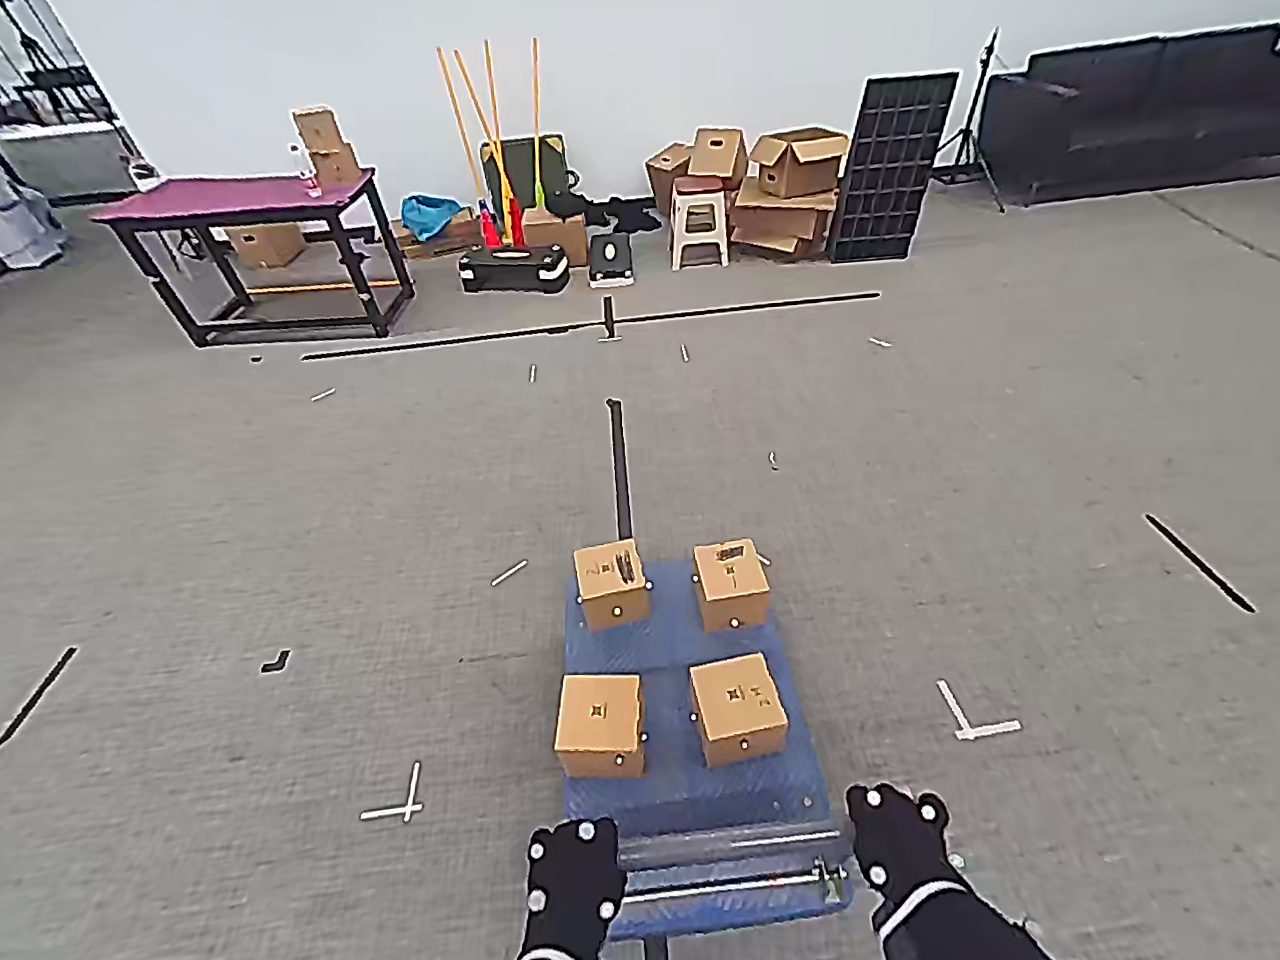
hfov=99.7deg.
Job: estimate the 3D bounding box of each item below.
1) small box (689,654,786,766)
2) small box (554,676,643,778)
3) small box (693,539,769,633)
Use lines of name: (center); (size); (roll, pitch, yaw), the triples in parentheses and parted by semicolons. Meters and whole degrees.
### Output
small box: (0.216, 0.527, 1.232); (0.179, 0.176, 0.168); (-11, 44, -5)
small box: (-0.086, 0.562, 1.227); (0.179, 0.176, 0.168); (-1, 44, 2)
small box: (0.239, 0.289, 1.474); (0.168, 0.176, 0.179); (-9, 45, -3)
